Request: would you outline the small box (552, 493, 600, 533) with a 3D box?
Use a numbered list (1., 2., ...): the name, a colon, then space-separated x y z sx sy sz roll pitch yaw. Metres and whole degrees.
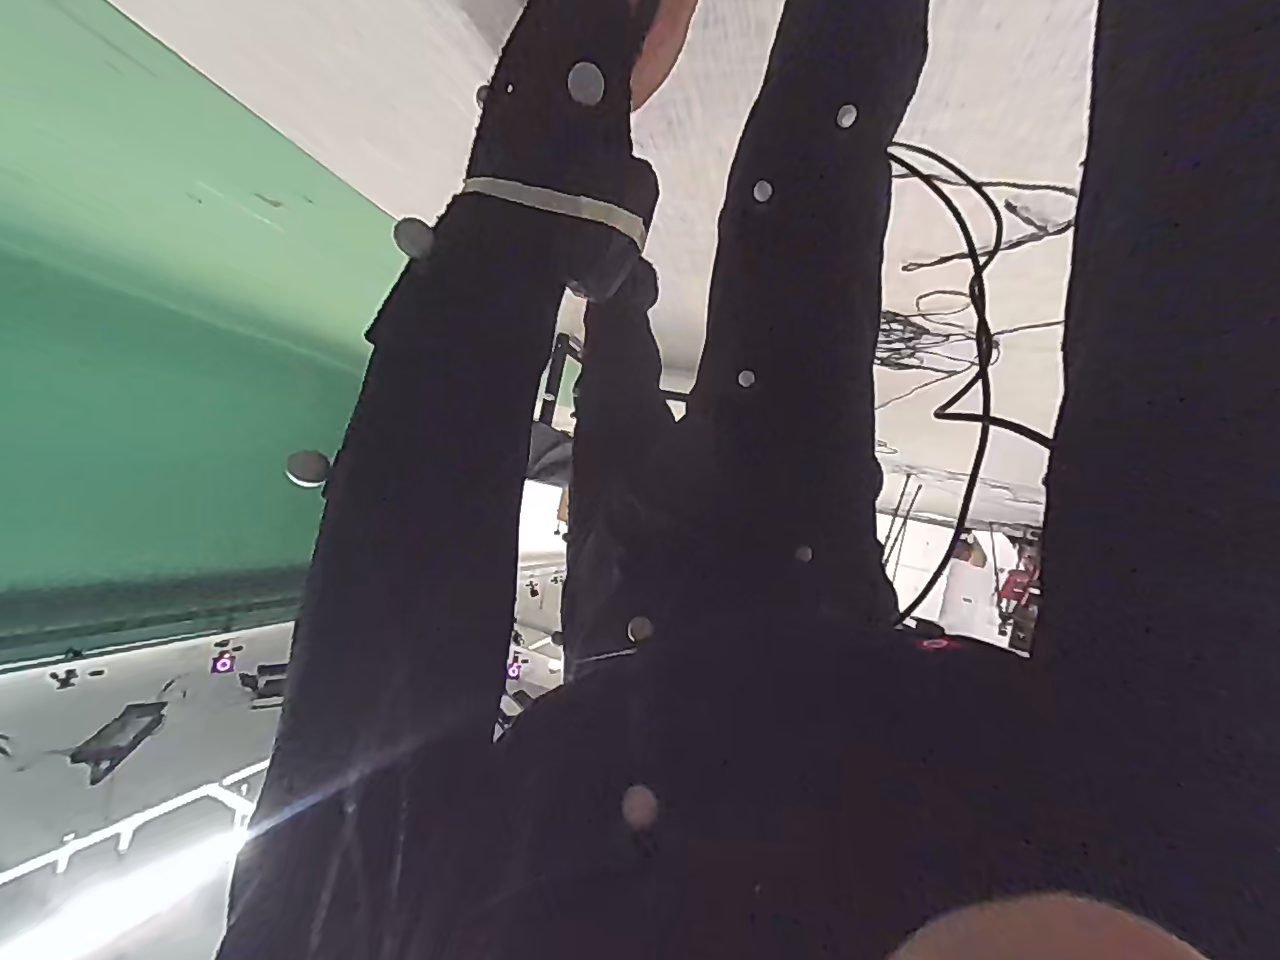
1. small box: -0.313 0.161 2.664 0.168 0.176 0.179 13 180 16
